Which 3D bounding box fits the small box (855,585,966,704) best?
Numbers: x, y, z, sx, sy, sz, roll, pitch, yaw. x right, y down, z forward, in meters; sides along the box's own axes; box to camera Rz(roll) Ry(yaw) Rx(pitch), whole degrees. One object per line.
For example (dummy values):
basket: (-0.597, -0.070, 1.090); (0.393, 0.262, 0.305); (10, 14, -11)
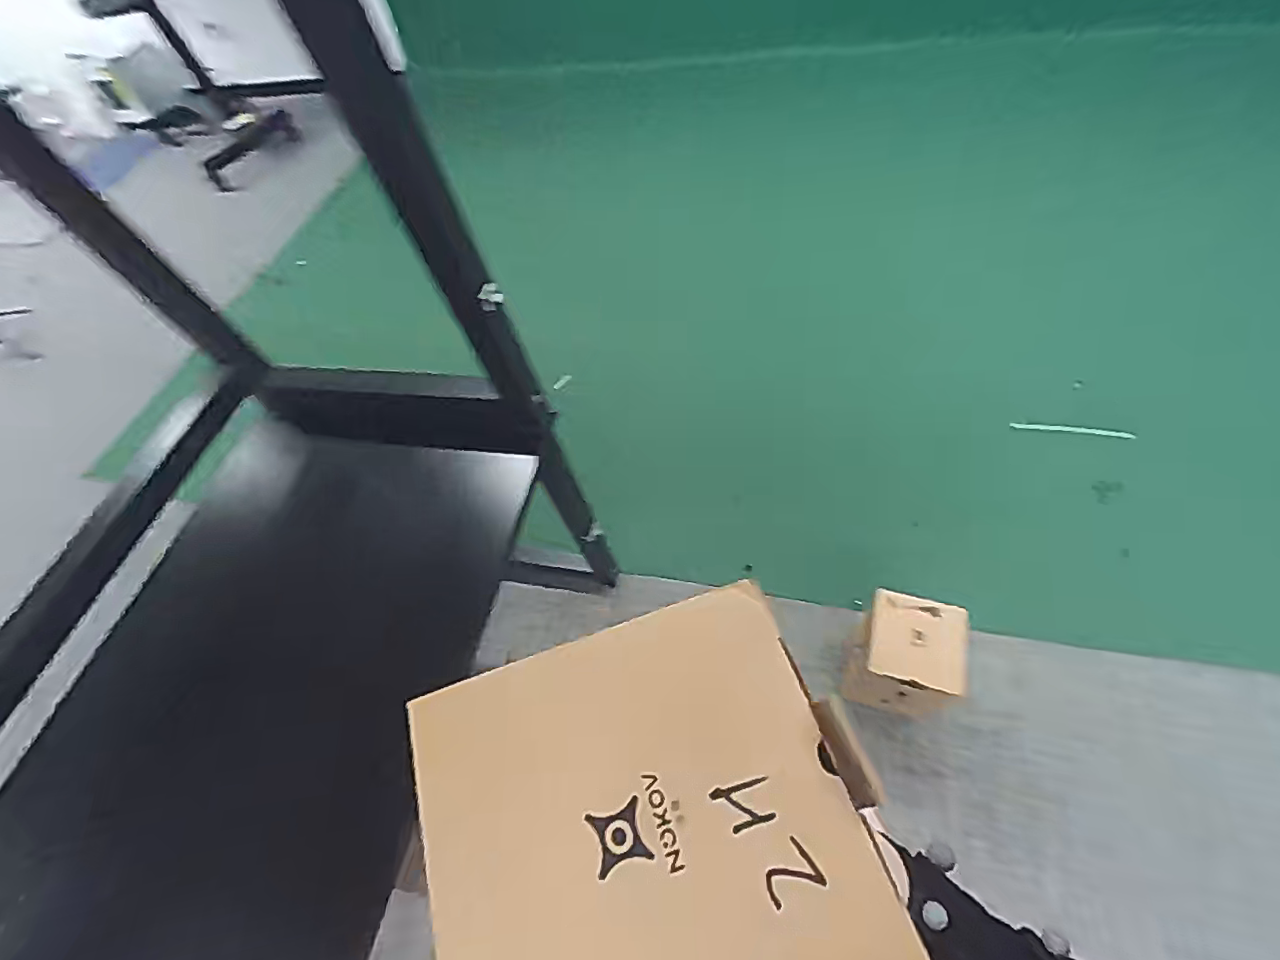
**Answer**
small box: (0.546, 0.341, 1.108); (0.168, 0.176, 0.179); (12, 62, 18)
